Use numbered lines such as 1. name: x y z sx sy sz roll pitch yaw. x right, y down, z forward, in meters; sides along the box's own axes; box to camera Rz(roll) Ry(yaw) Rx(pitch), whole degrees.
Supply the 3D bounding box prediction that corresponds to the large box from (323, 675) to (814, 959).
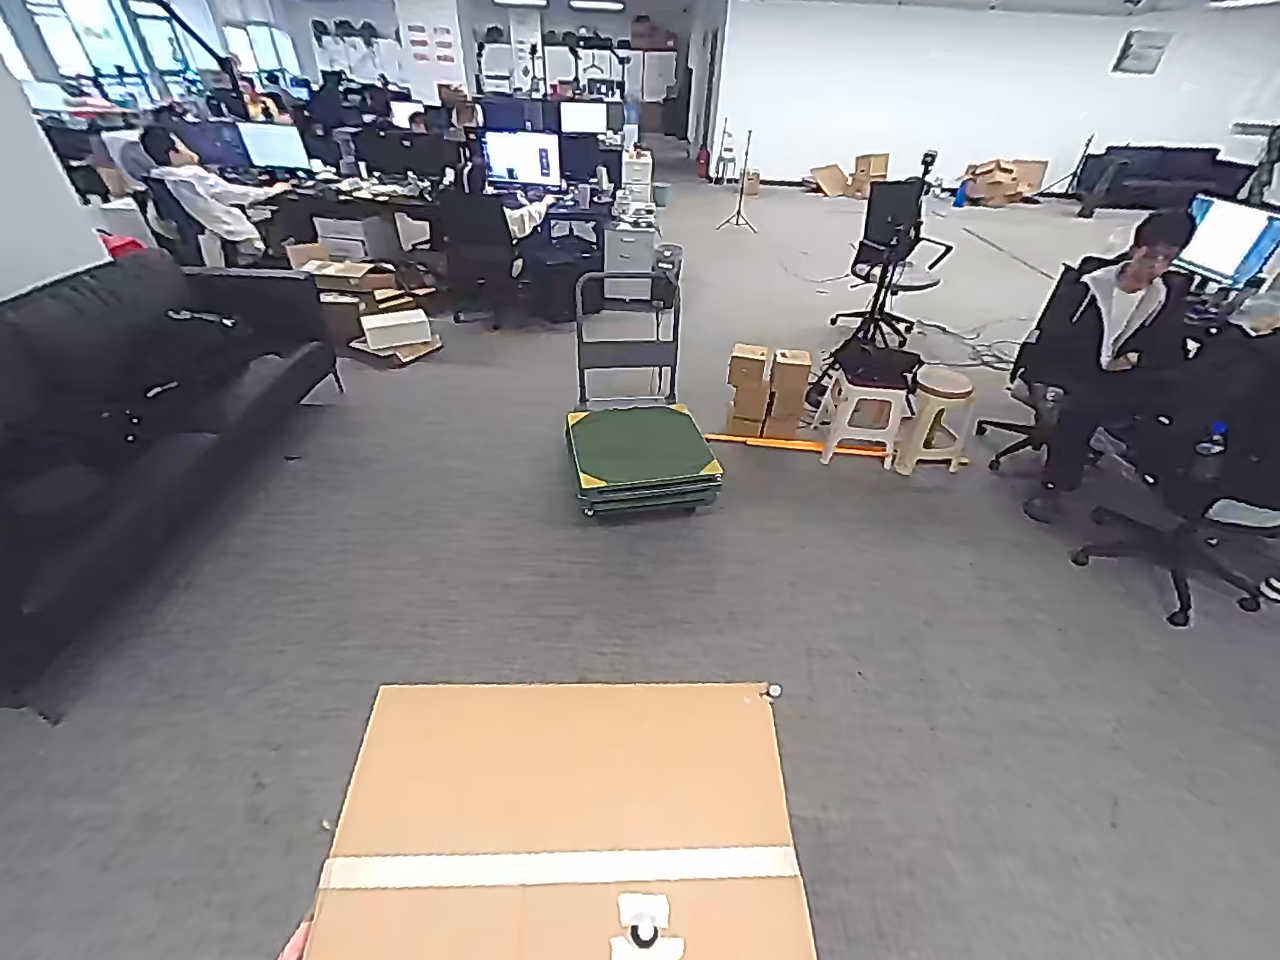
1. large box: -0.066 0.426 0.596 0.408 0.320 0.320 0 51 -3
